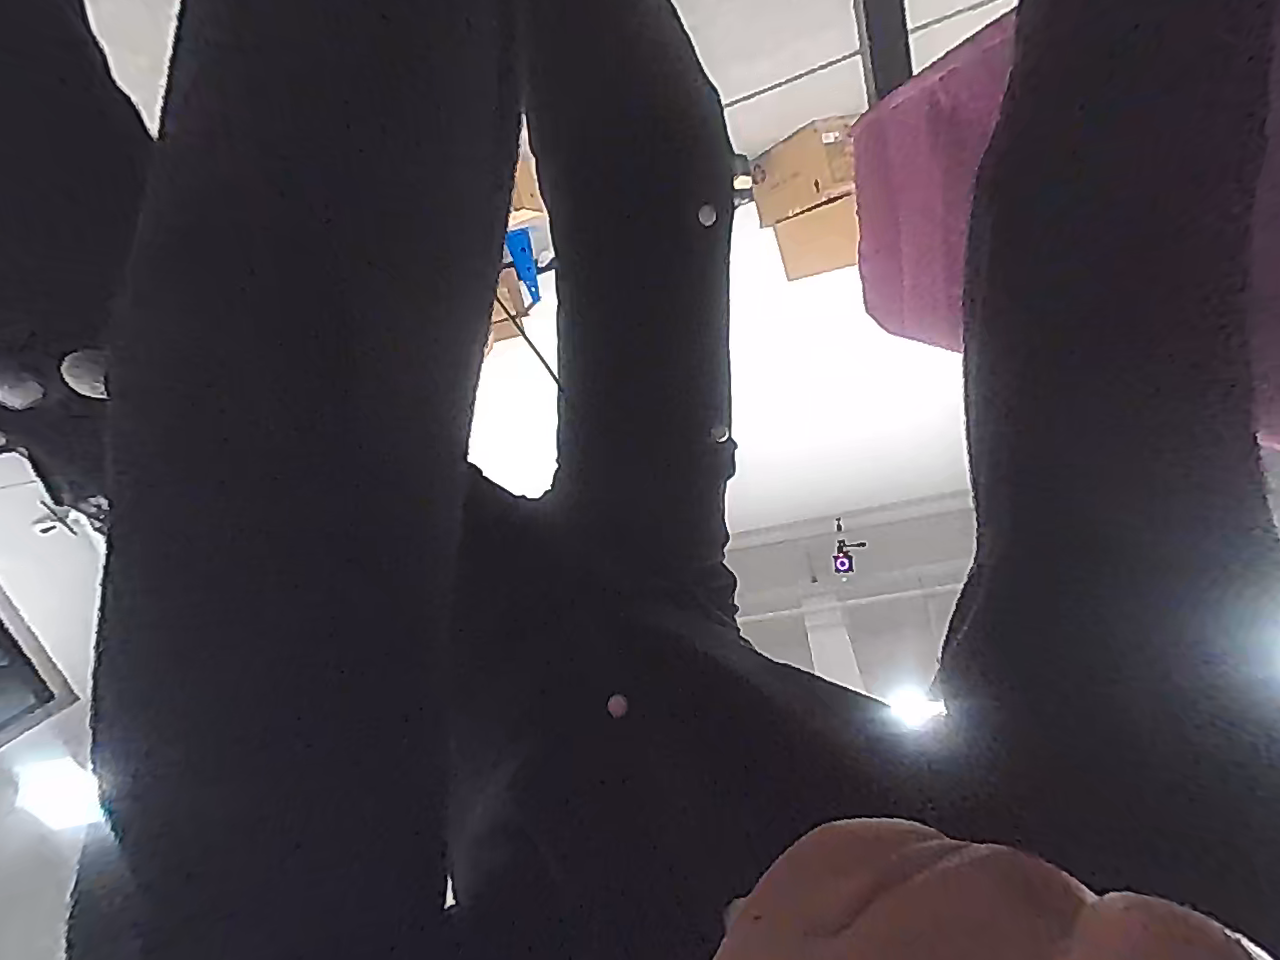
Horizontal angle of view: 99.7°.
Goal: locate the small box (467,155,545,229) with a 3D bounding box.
[{"bbox_3d":[-0.441,-0.955,1.798,0.168,0.176,0.179,-12,-164,17],"label":"small box"}]
